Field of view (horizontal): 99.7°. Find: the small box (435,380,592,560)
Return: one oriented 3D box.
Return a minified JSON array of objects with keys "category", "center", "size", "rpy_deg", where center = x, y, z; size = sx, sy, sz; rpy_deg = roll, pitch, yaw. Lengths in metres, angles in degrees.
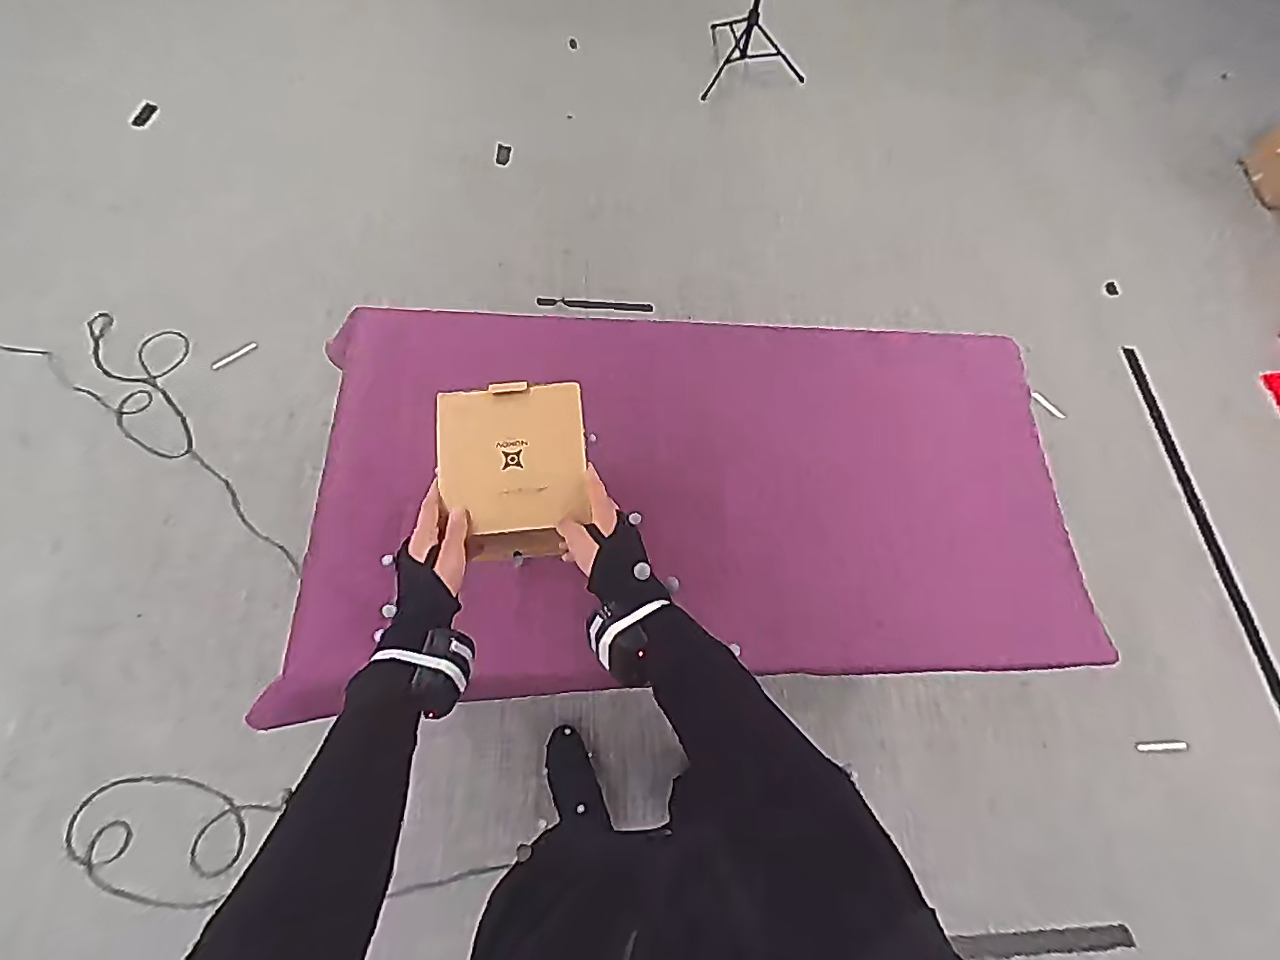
[{"category":"small box","center":[-0.147,-0.005,0.673],"size":[0.168,0.176,0.179],"rpy_deg":[-5,73,-5]}]
